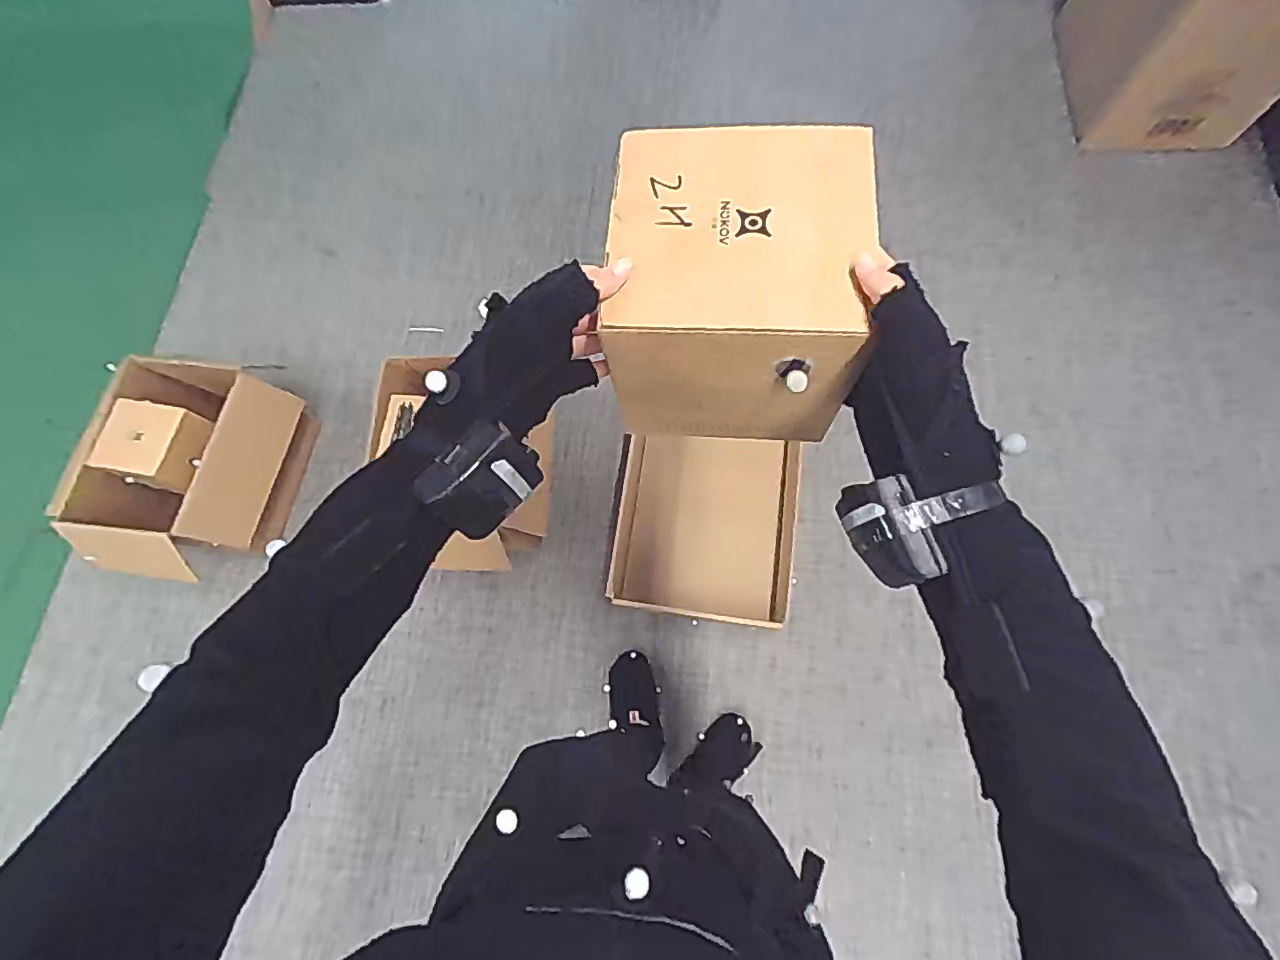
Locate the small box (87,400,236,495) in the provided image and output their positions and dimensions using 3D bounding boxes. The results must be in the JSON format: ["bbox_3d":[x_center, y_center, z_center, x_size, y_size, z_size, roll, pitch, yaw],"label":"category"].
[{"bbox_3d":[-1.117,-0.070,1.280,0.179,0.176,0.168,9,73,6],"label":"small box"}]

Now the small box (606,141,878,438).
[{"bbox_3d":[0.076,-0.142,0.446,0.179,0.176,0.168,3,71,6],"label":"small box"}]
